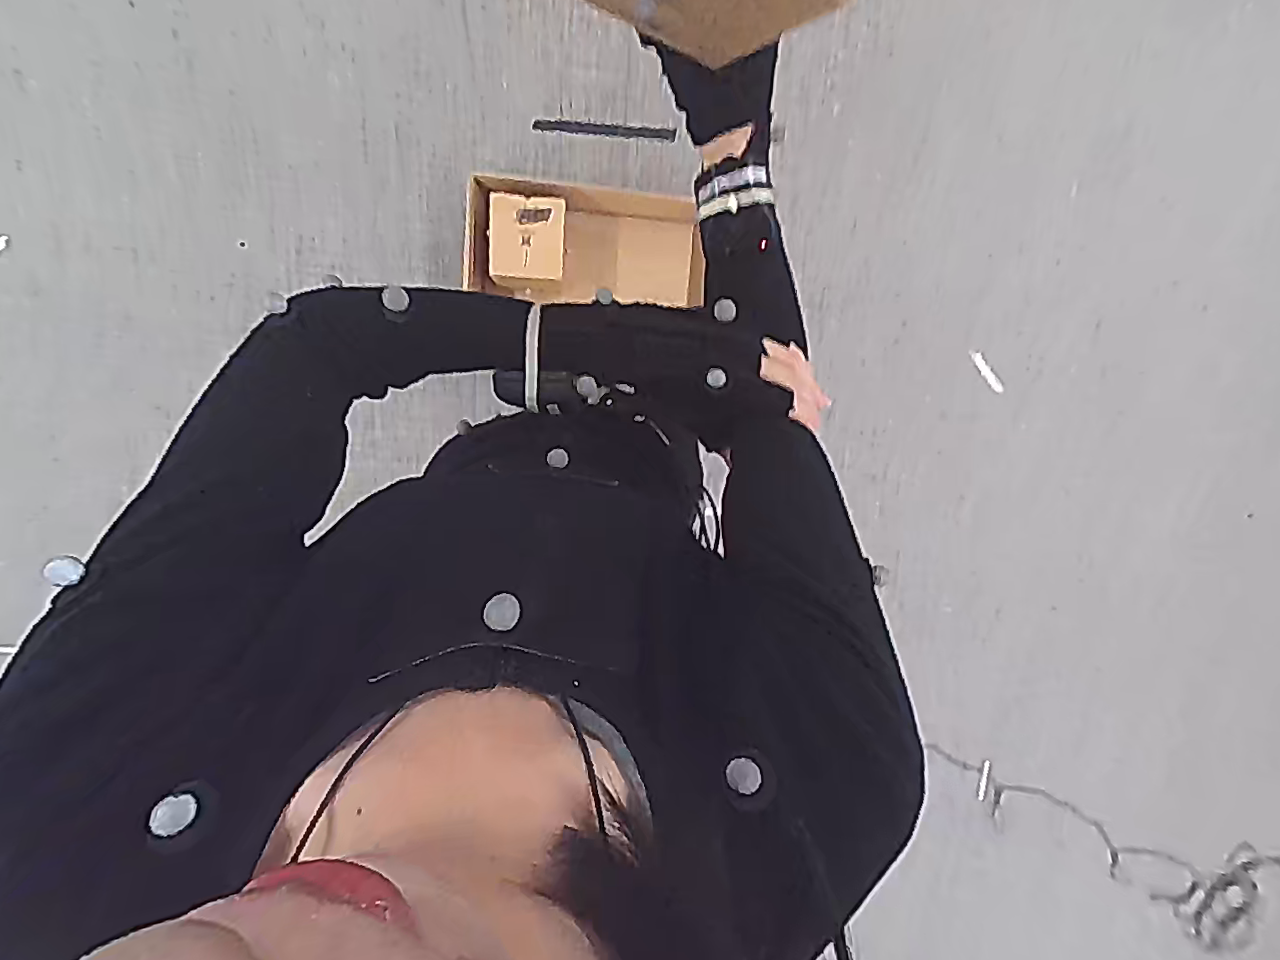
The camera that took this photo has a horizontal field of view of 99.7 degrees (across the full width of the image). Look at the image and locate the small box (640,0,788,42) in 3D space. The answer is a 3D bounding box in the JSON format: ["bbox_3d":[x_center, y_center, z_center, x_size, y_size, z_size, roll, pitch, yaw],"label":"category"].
[{"bbox_3d":[0.034,-0.364,0.268,0.168,0.176,0.179,8,114,-22],"label":"small box"}]
